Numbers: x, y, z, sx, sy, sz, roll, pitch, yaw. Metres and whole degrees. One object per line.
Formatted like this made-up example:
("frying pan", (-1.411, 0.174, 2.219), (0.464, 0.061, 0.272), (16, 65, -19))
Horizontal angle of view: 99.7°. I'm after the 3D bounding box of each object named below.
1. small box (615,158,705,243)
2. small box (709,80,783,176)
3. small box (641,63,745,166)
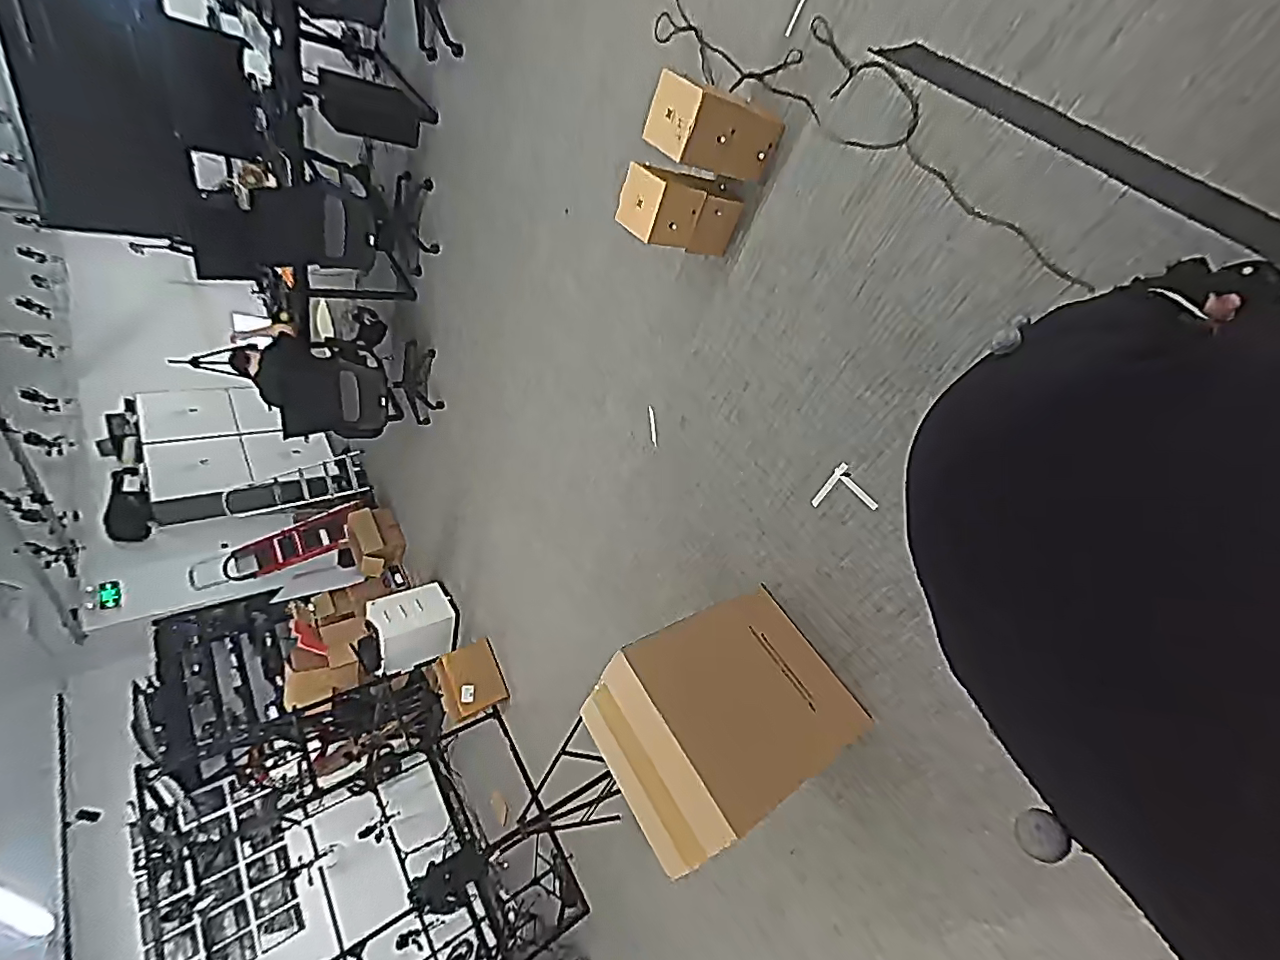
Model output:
("small box", (0.059, -0.807, 1.573), (0.179, 0.176, 0.168), (50, 135, 31))
("small box", (0.264, -0.985, 1.527), (0.179, 0.176, 0.168), (52, 136, 26))
("small box", (0.139, -0.954, 1.424), (0.179, 0.176, 0.168), (51, 136, 28))
